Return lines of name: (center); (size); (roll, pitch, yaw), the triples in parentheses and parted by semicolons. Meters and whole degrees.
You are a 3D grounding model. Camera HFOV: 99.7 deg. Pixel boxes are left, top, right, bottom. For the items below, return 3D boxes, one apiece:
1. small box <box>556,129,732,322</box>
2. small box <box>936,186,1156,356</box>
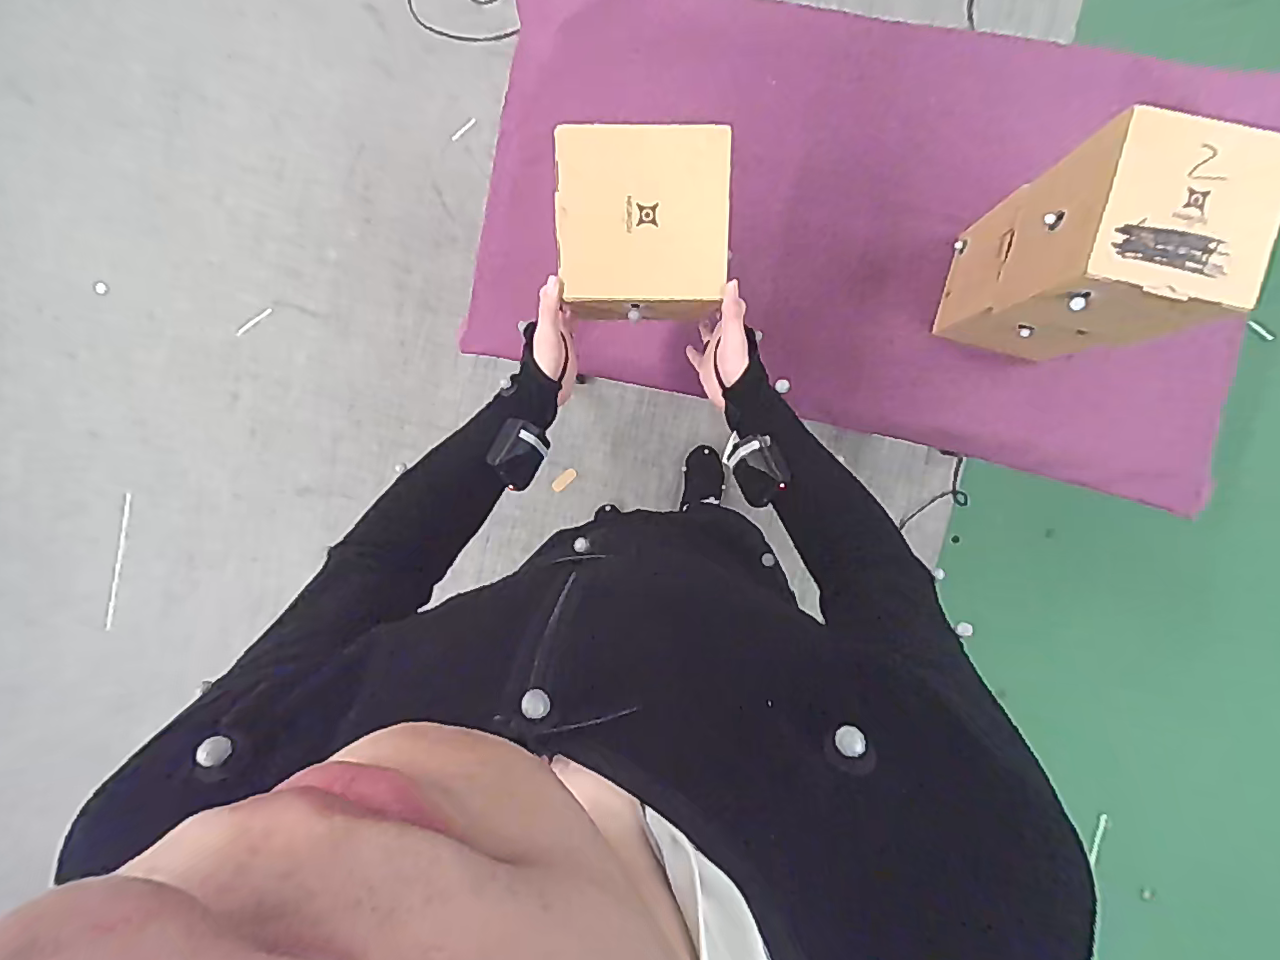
small box: (0.005, -0.277, 0.622); (0.179, 0.176, 0.168); (0, 100, 1)
small box: (0.568, -0.289, 0.785); (0.179, 0.176, 0.168); (15, 93, 3)
